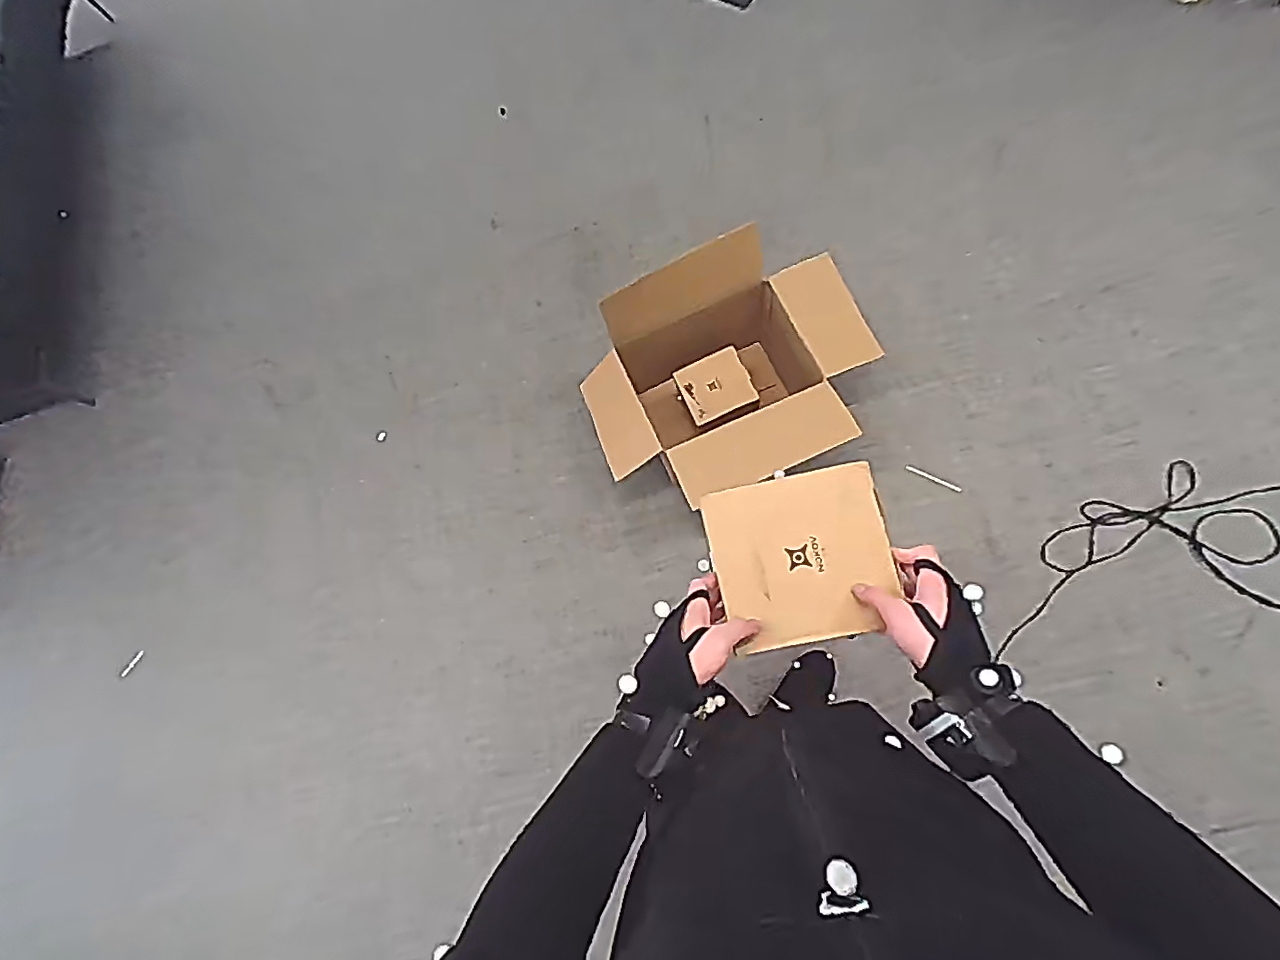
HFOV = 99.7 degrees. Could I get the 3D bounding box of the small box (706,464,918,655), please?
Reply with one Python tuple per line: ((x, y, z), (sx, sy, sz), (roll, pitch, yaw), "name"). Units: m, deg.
((0.173, 0.090, 0.605), (0.179, 0.176, 0.168), (-11, 77, 5), "small box")
